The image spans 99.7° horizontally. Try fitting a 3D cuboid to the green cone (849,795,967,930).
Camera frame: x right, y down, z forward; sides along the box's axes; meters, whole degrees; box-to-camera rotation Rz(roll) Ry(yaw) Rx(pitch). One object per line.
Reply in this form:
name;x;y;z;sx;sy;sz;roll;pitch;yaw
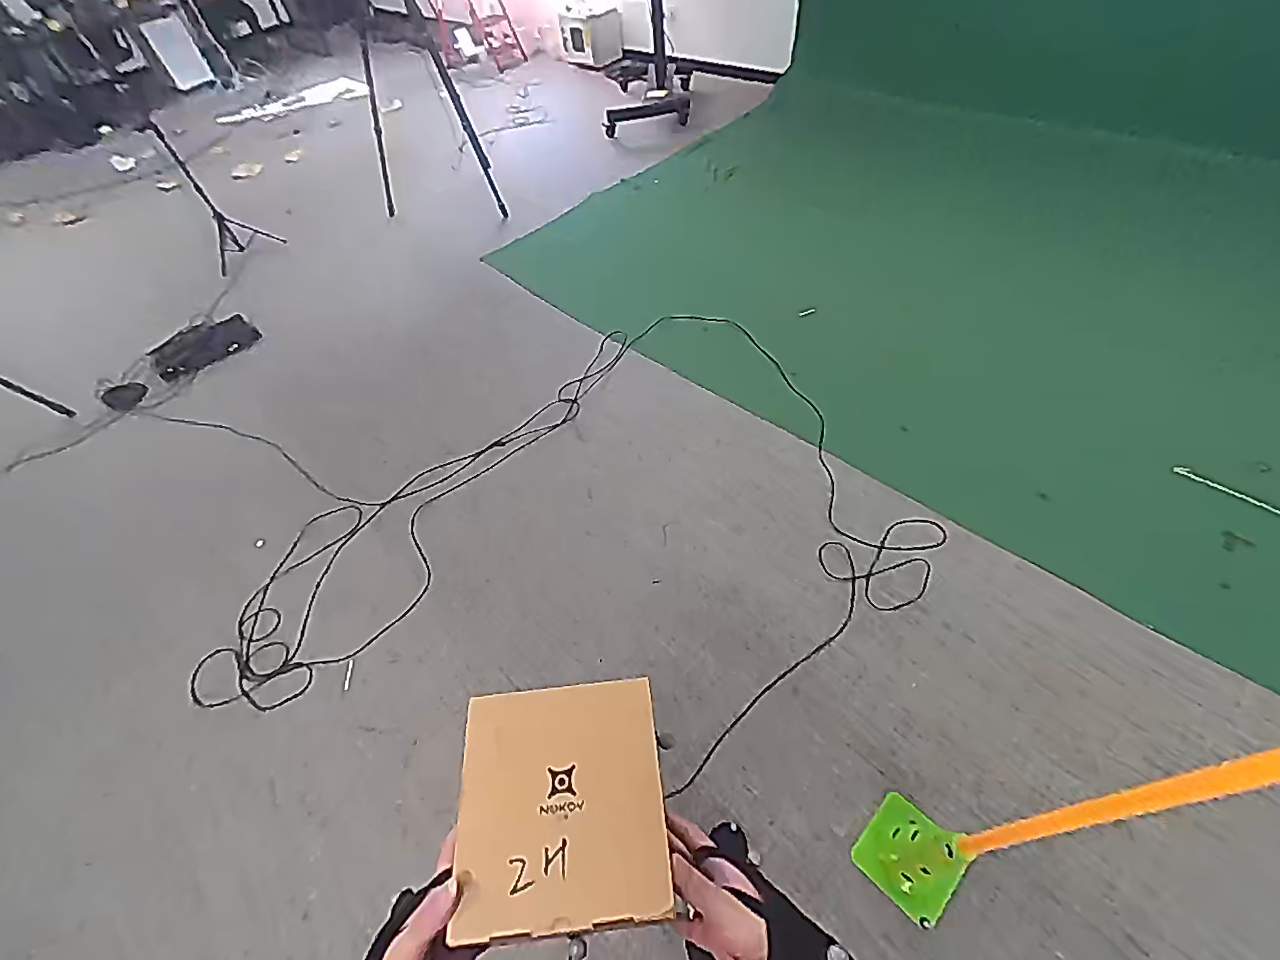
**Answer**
green cone;0.605;0.779;1.130;0.200;0.368;0.202;-40;57;-23
